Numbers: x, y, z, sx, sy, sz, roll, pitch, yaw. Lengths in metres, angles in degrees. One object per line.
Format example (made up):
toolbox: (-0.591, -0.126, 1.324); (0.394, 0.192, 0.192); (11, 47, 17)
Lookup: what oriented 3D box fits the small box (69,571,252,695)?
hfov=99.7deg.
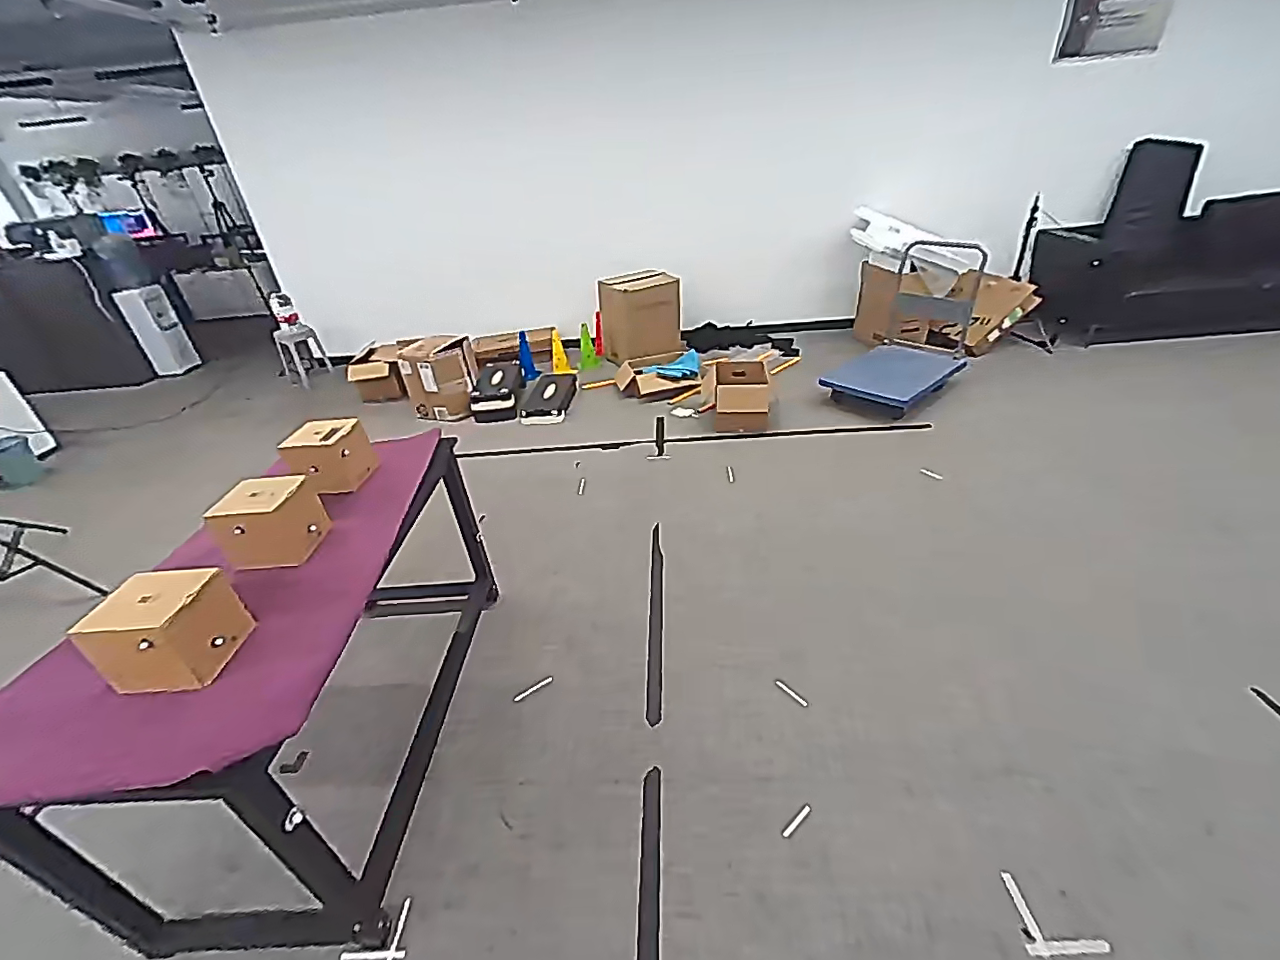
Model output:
small box: (-0.926, 0.302, 1.066); (0.179, 0.176, 0.168); (-4, 31, 1)

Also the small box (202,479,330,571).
small box: (-0.932, 0.115, 1.366); (0.179, 0.176, 0.168); (-4, 32, 2)
